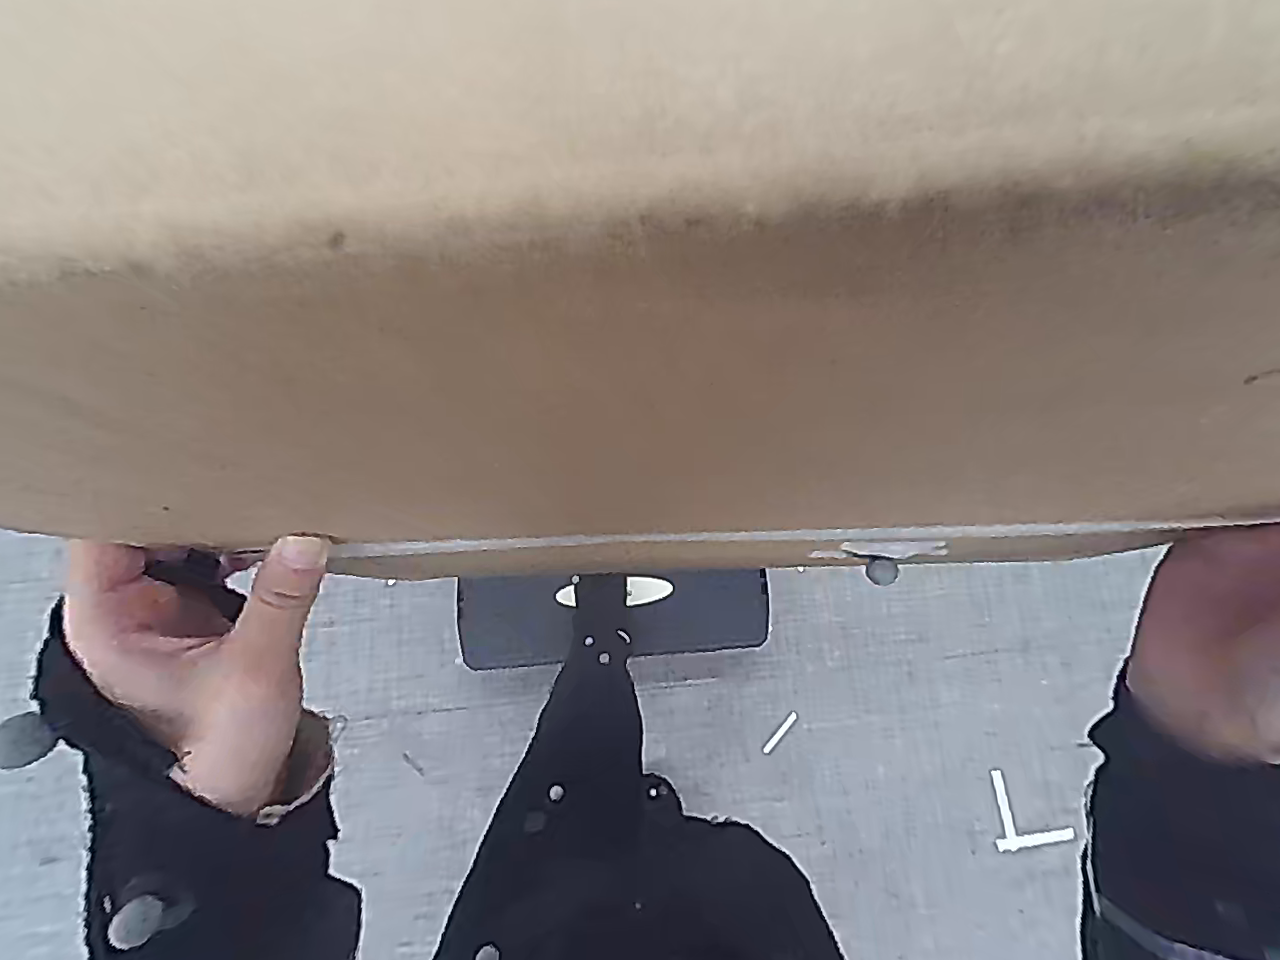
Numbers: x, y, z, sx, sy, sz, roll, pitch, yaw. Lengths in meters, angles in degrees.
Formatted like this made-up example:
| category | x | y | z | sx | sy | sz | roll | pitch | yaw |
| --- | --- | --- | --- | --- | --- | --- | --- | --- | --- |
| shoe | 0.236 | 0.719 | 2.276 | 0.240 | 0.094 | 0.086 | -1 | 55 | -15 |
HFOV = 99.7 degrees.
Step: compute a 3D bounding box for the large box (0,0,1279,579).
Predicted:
| category | x | y | z | sx | sy | sz | roll | pitch | yaw |
| --- | --- | --- | --- | --- | --- | --- | --- | --- | --- |
| large box | 0.008 | -0.136 | 0.231 | 0.408 | 0.320 | 0.320 | -4 | 76 | 5 |
